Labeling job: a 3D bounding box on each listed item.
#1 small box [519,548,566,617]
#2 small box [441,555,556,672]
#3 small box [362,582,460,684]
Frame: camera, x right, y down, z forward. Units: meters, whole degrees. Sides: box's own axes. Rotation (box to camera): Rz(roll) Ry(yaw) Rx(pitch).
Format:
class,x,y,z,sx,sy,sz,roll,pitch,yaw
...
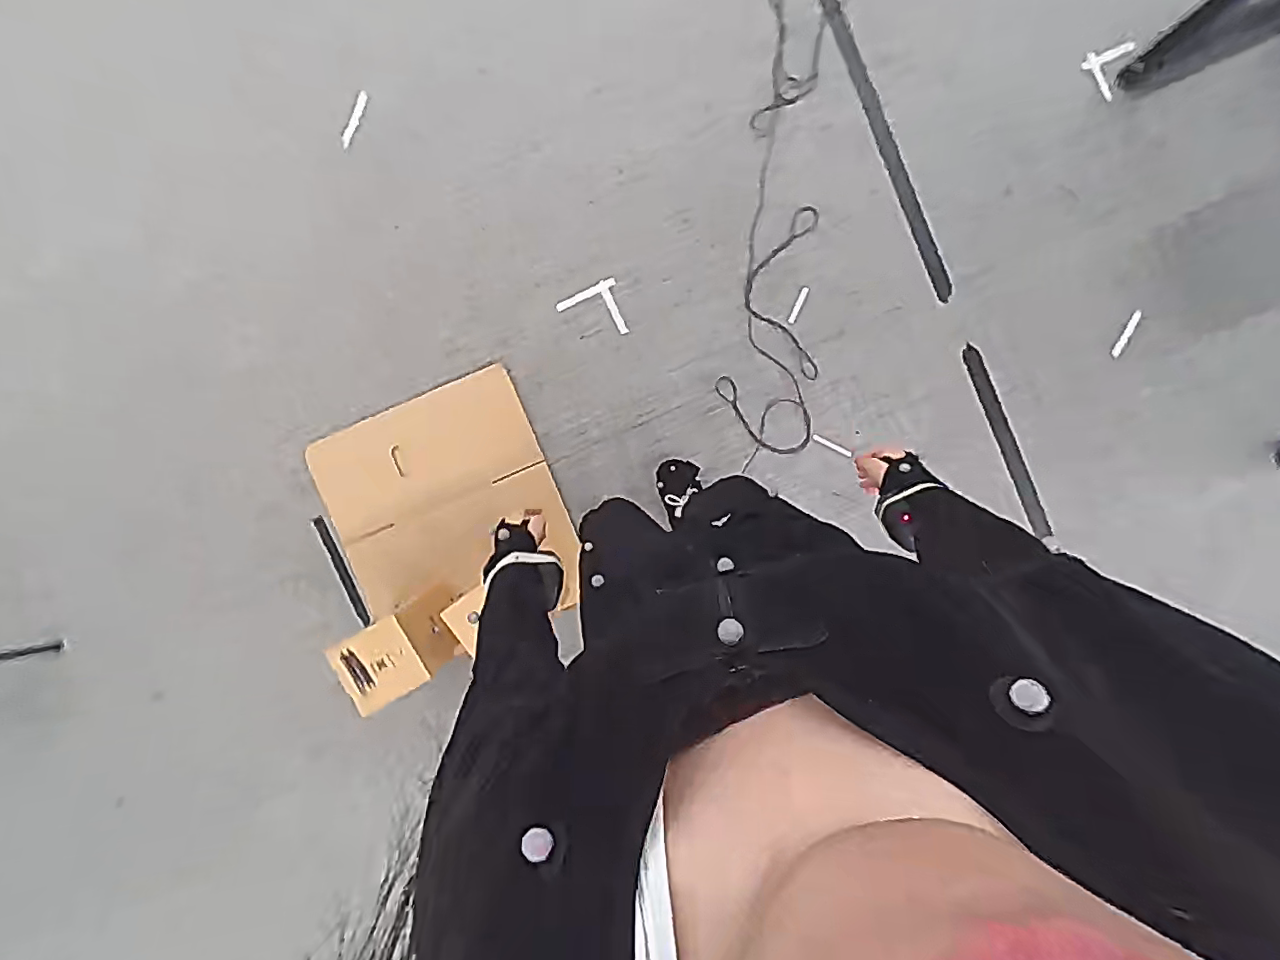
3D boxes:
class,x,y,z,sx,sy,sz,roll,pitch,yaw
small box,-0.307,0.295,1.405,0.179,0.176,0.168,-38,92,0
small box,-0.314,0.297,1.240,0.179,0.176,0.168,-37,93,1
small box,-0.571,0.390,1.409,0.179,0.176,0.168,-33,92,1
